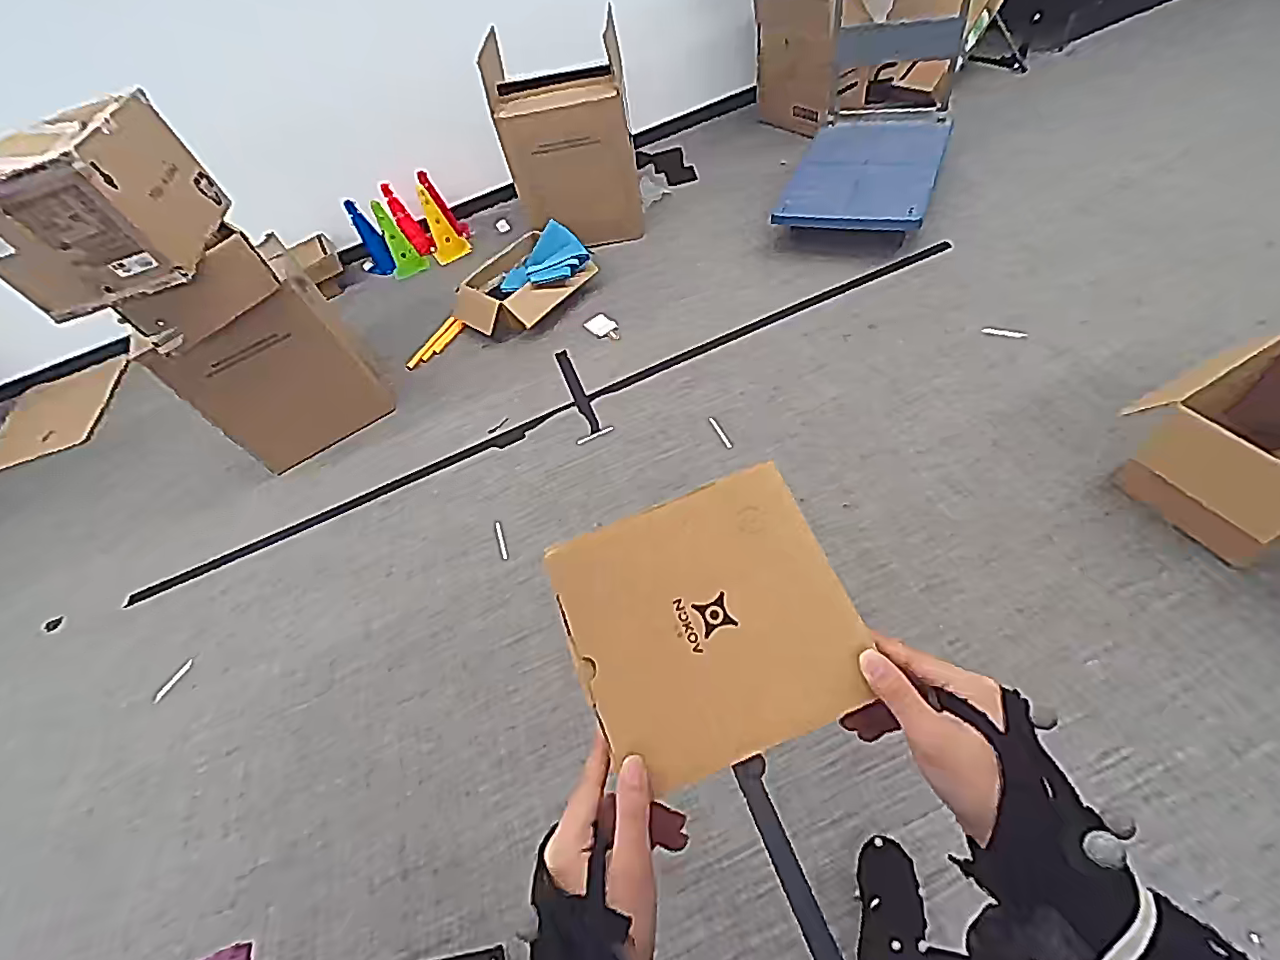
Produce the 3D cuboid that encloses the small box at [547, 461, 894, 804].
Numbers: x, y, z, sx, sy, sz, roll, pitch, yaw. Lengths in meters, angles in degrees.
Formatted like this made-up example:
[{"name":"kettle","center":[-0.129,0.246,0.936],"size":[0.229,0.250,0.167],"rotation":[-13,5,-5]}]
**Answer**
[{"name":"small box","center":[0.050,0.114,0.418],"size":[0.179,0.176,0.168],"rotation":[-23,68,-3]}]
